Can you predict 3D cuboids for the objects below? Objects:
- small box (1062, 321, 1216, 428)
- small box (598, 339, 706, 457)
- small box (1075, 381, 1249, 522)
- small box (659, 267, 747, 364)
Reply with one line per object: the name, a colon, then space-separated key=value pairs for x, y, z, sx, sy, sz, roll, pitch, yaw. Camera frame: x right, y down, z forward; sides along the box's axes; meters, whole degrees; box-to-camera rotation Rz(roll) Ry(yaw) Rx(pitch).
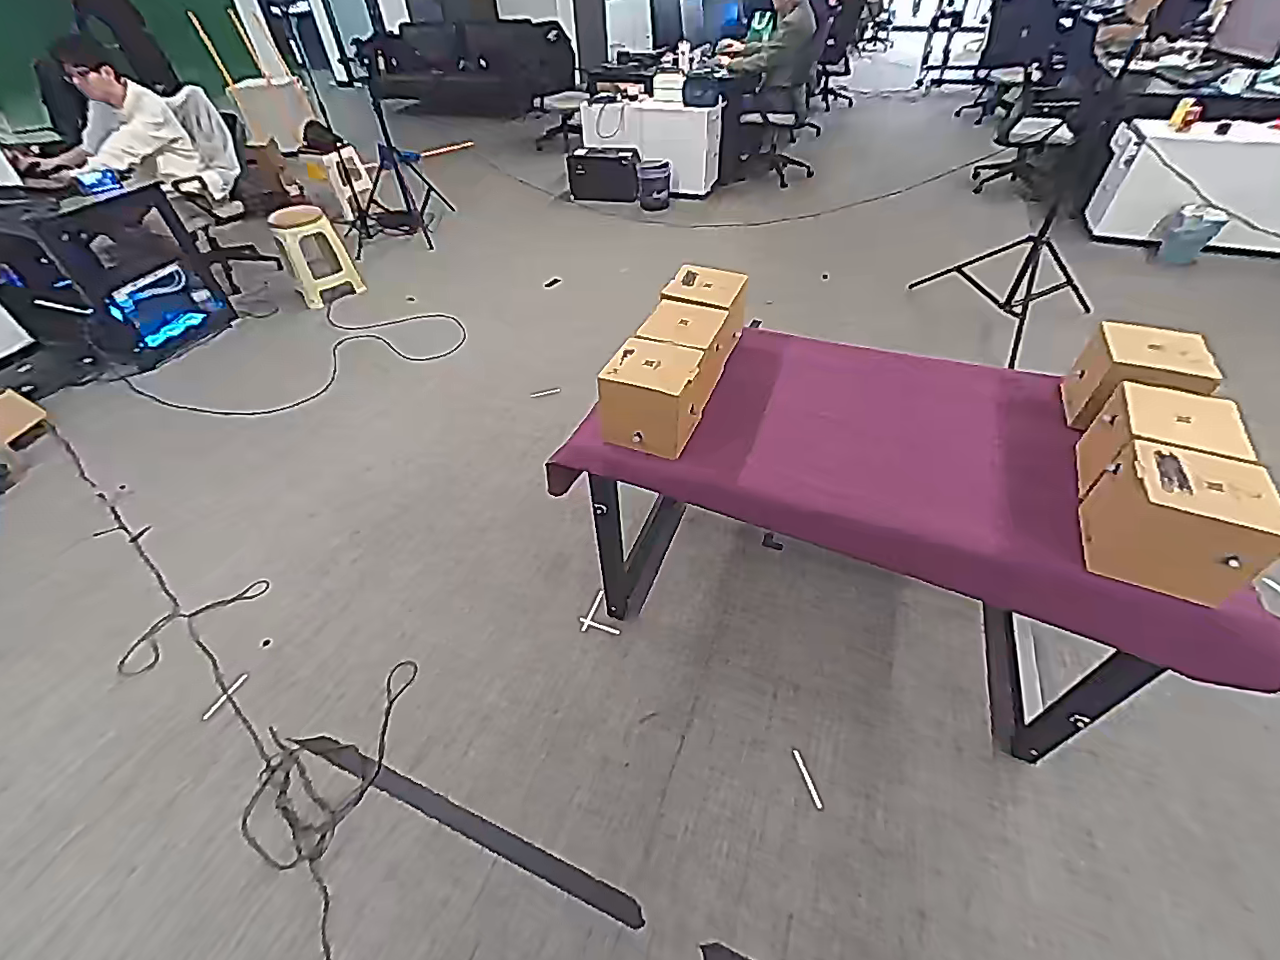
small box: x=1.020 y=-0.205 z=1.130 sx=0.179 sy=0.176 sz=0.168 roll=16 pitch=49 yaw=17
small box: x=0.027 y=-0.171 z=1.146 sx=0.179 sy=0.176 sz=0.168 roll=16 pitch=47 yaw=16
small box: x=0.936 y=-0.052 z=0.992 sx=0.168 sy=0.176 sz=0.179 roll=18 pitch=48 yaw=21
small box: x=0.159 y=-0.418 z=1.383 sx=0.179 sy=0.176 sz=0.168 roll=17 pitch=51 yaw=17
